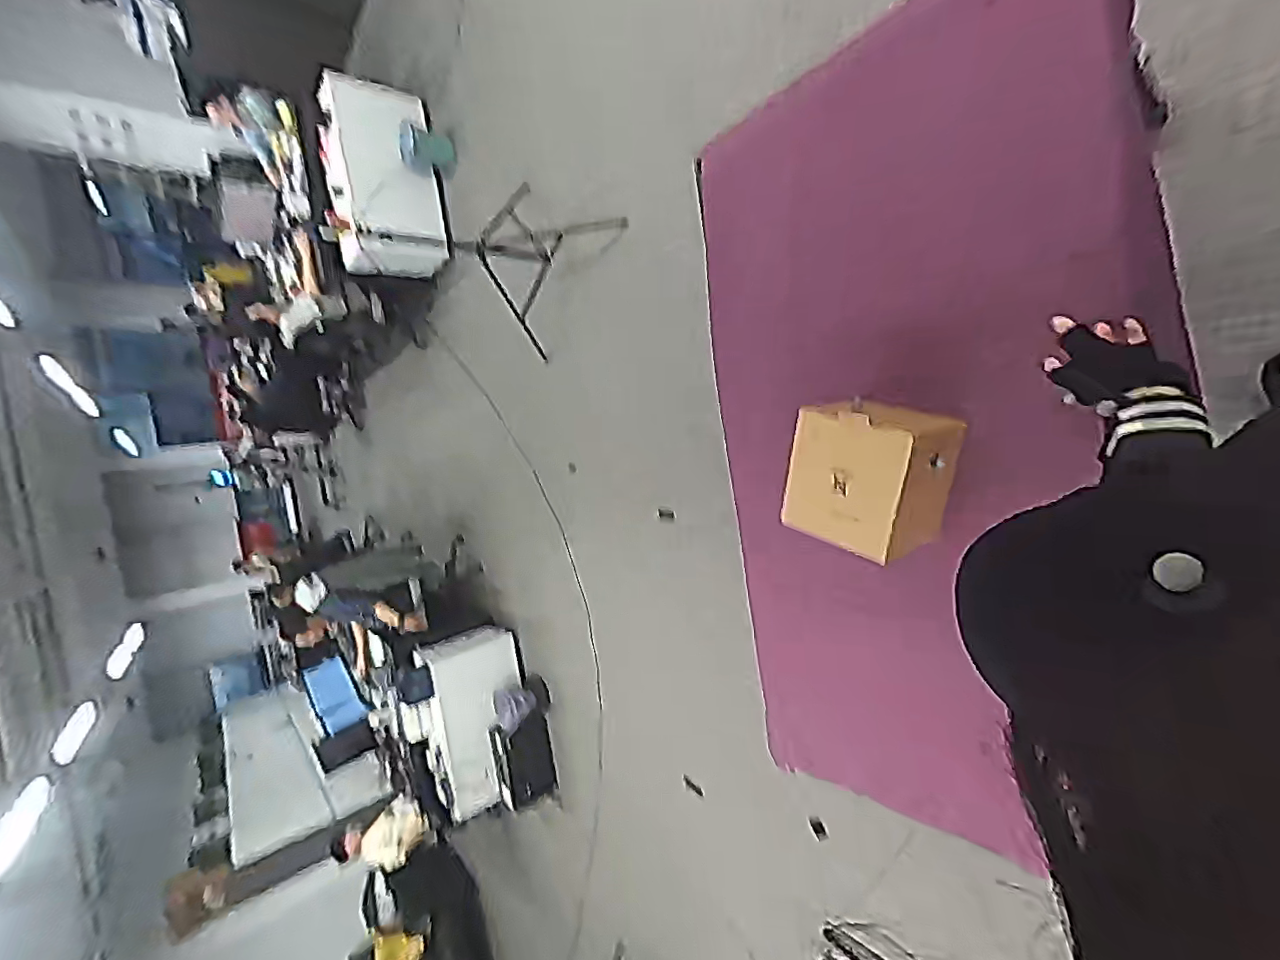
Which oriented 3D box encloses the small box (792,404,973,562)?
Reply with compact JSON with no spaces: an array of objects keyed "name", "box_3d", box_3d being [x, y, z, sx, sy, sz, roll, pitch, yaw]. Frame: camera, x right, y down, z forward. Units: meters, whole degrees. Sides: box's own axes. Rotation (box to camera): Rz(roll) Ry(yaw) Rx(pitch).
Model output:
[{"name":"small box","box_3d":[0.347,-0.009,0.776,0.168,0.176,0.179,24,118,48]}]
